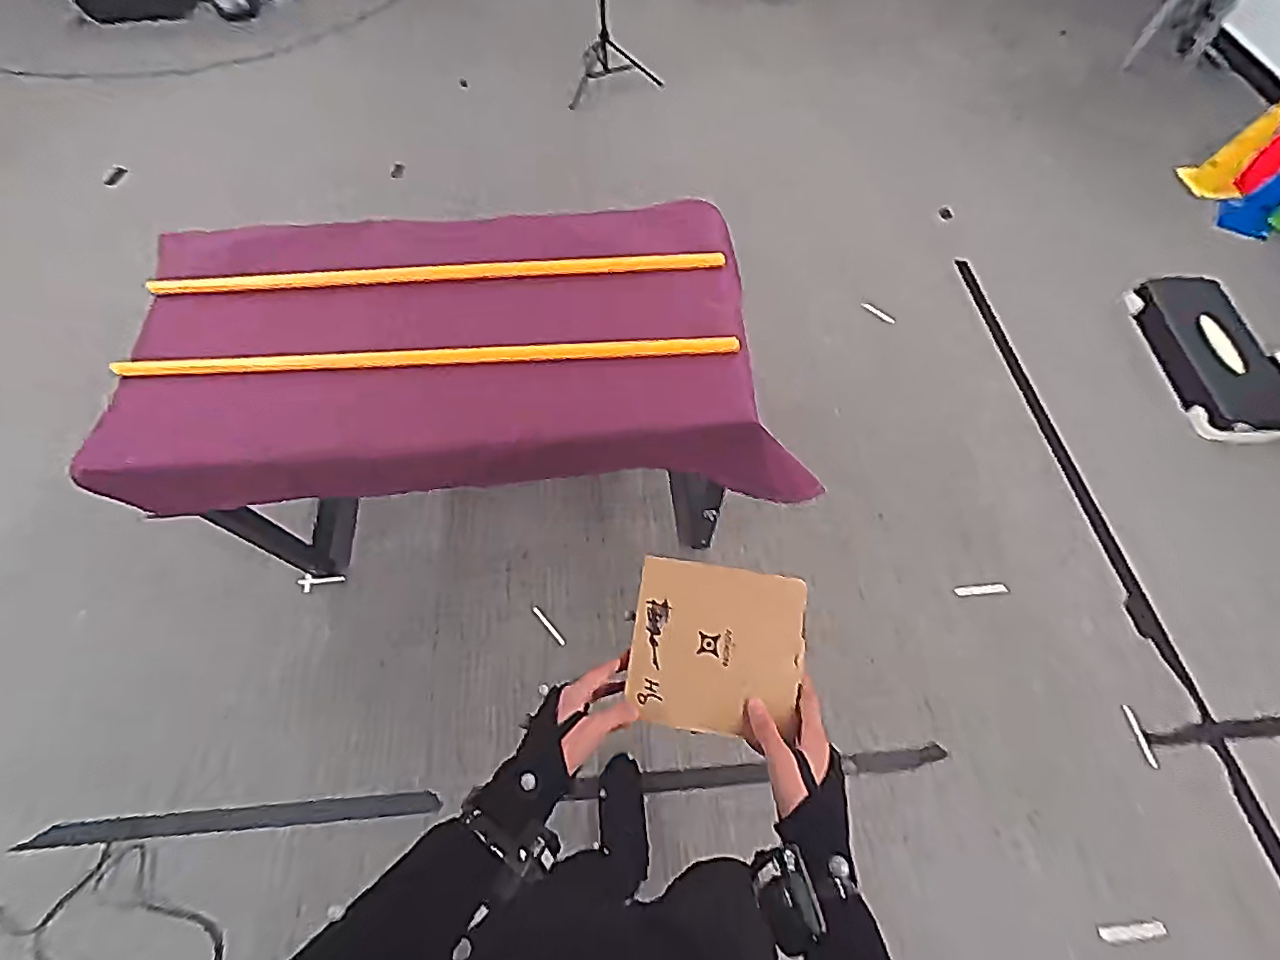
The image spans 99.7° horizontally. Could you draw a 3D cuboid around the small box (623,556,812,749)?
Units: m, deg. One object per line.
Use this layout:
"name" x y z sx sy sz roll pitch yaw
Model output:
"small box" 0.081 0.192 0.624 0.179 0.176 0.168 9 73 3
